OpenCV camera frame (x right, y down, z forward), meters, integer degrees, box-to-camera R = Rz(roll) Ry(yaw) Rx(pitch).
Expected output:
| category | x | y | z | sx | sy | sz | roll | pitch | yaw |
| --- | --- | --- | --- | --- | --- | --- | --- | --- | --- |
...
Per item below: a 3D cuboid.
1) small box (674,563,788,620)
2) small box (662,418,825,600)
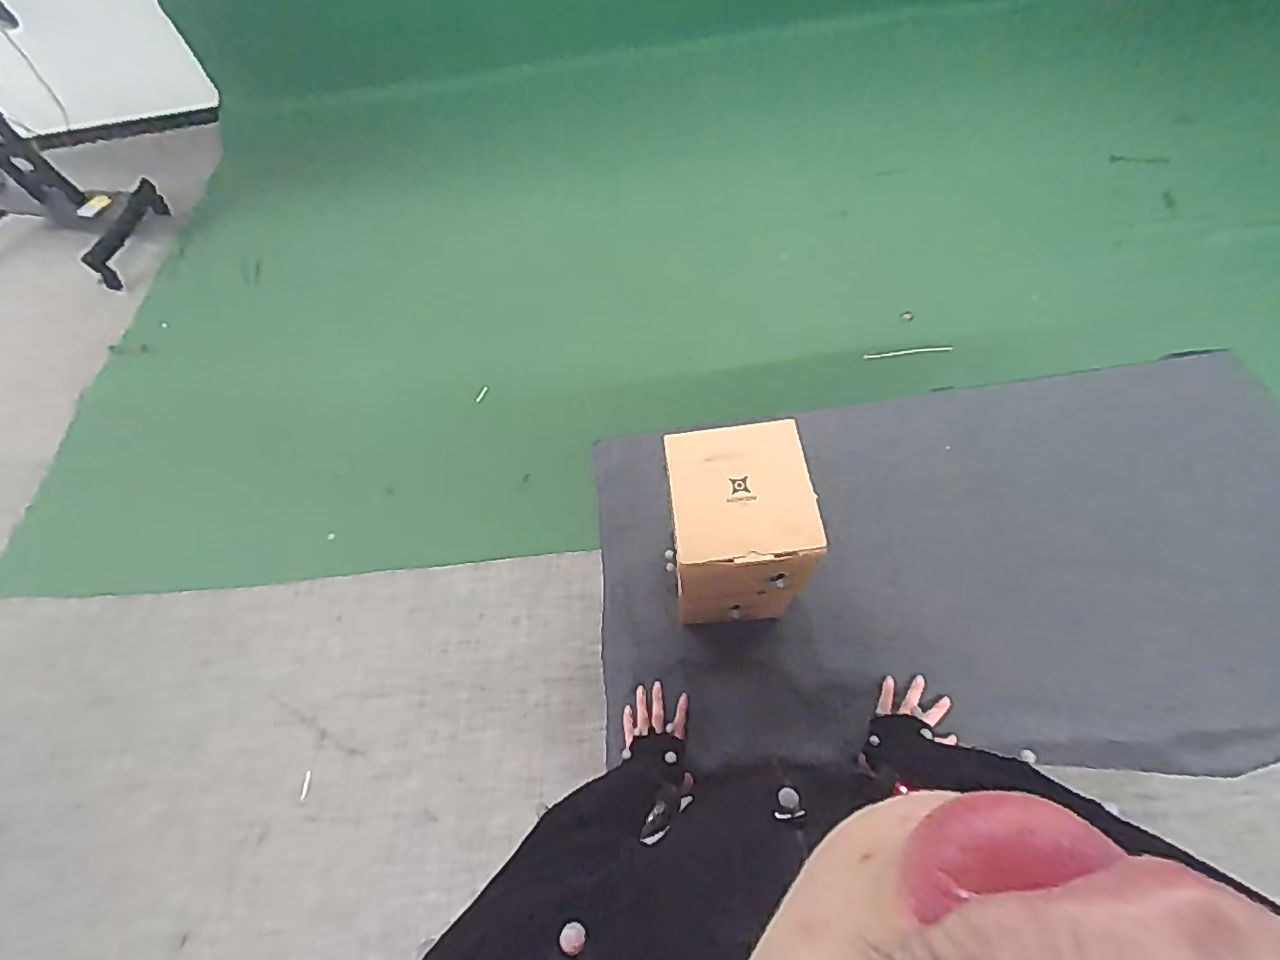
| category | x | y | z | sx | sy | sz | roll | pitch | yaw |
| --- | --- | --- | --- | --- | --- | --- | --- | --- | --- |
| small box | 0.136 | 0.114 | 0.843 | 0.168 | 0.176 | 0.179 | -5 | 61 | 3 |
| small box | 0.122 | 0.047 | 0.695 | 0.168 | 0.176 | 0.179 | -7 | 60 | 2 |
